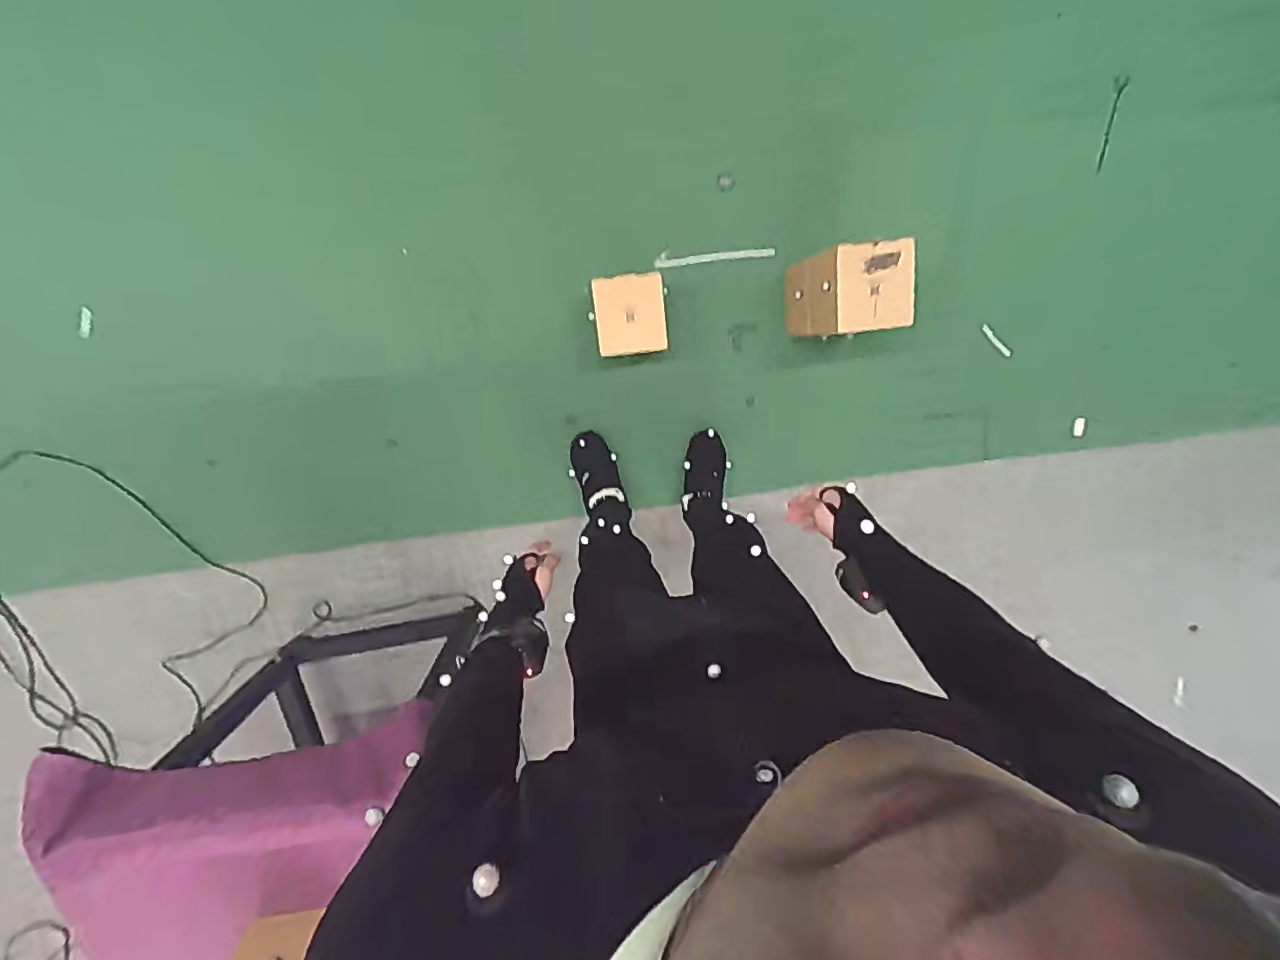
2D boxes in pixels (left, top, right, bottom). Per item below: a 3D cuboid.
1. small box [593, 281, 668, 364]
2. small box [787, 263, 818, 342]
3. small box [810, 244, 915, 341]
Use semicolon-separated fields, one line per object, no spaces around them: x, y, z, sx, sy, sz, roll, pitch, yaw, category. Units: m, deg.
-0.023;-0.390;1.351;0.168;0.176;0.179;-7;102;-1;small box
0.477;-0.446;1.364;0.168;0.176;0.179;-6;103;-2;small box
0.488;-0.410;1.204;0.168;0.176;0.179;-7;104;-2;small box
